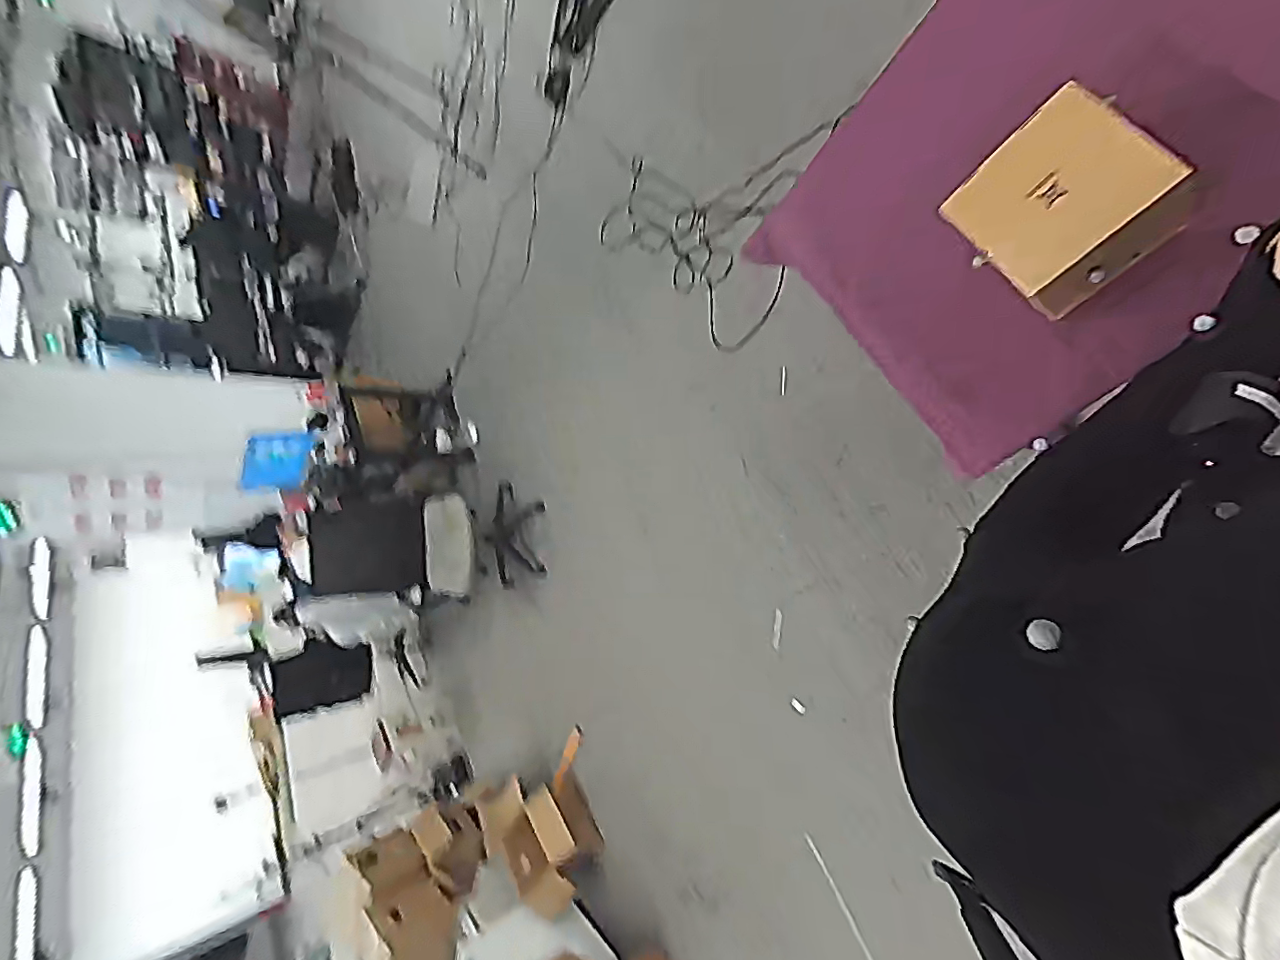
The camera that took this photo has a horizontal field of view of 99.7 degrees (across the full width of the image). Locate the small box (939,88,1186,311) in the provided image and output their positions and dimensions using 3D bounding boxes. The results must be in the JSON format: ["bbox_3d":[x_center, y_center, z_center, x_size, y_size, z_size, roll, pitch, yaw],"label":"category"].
[{"bbox_3d":[0.530,-0.334,0.682,0.168,0.176,0.179,-47,58,38],"label":"small box"}]
